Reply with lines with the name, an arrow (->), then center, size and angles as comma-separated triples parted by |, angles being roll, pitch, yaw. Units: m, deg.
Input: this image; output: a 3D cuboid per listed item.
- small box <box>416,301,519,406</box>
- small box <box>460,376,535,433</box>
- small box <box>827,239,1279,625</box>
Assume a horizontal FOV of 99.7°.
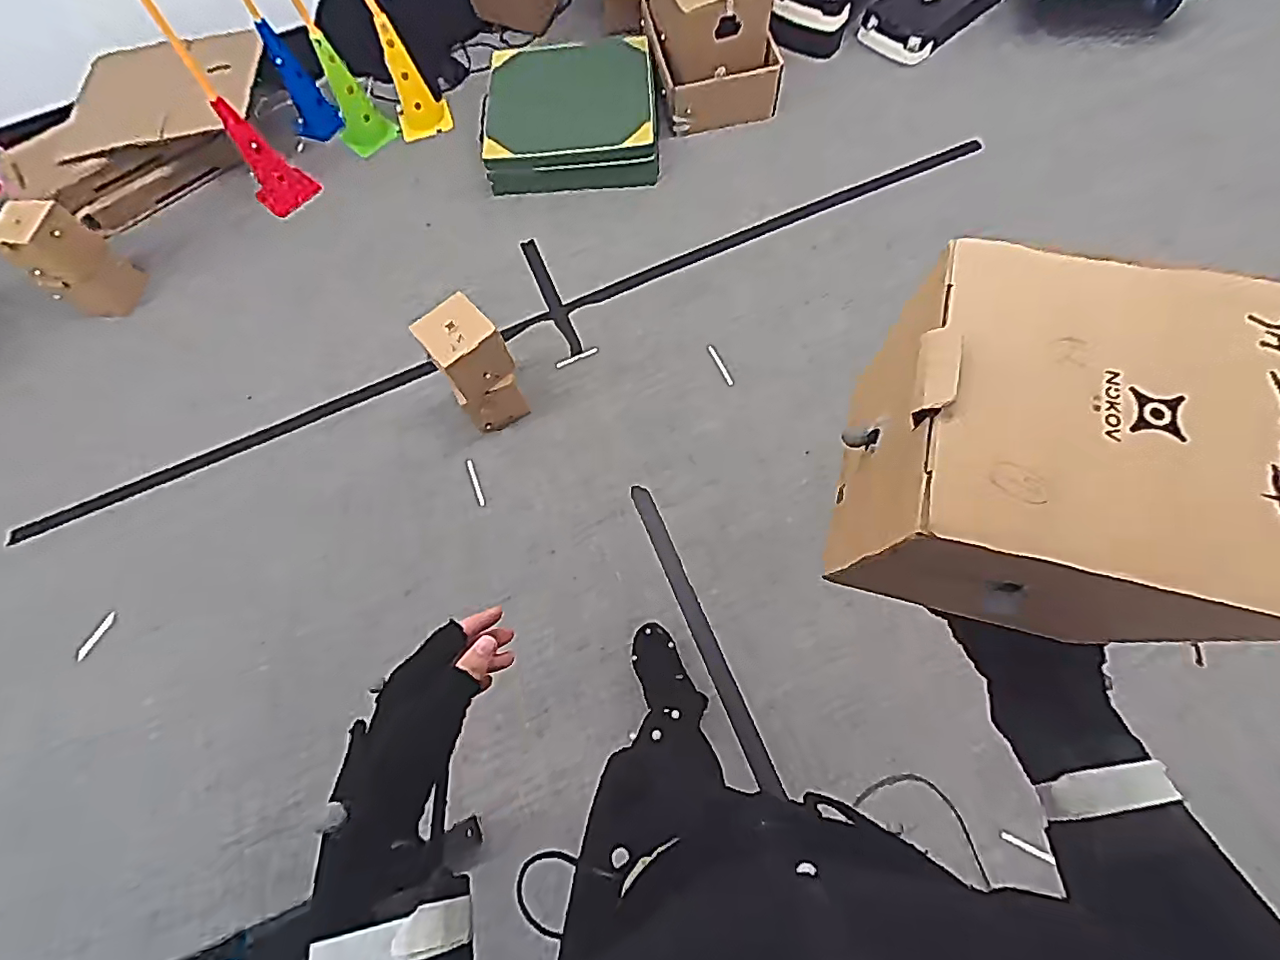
small box -> -0.449, -0.329, 1.431 | 0.168, 0.176, 0.179 | -38, 71, -9
small box -> -0.425, -0.258, 1.578 | 0.168, 0.176, 0.179 | -25, 66, -5
small box -> 0.224, -0.012, 0.327 | 0.179, 0.176, 0.168 | 10, 73, 7
